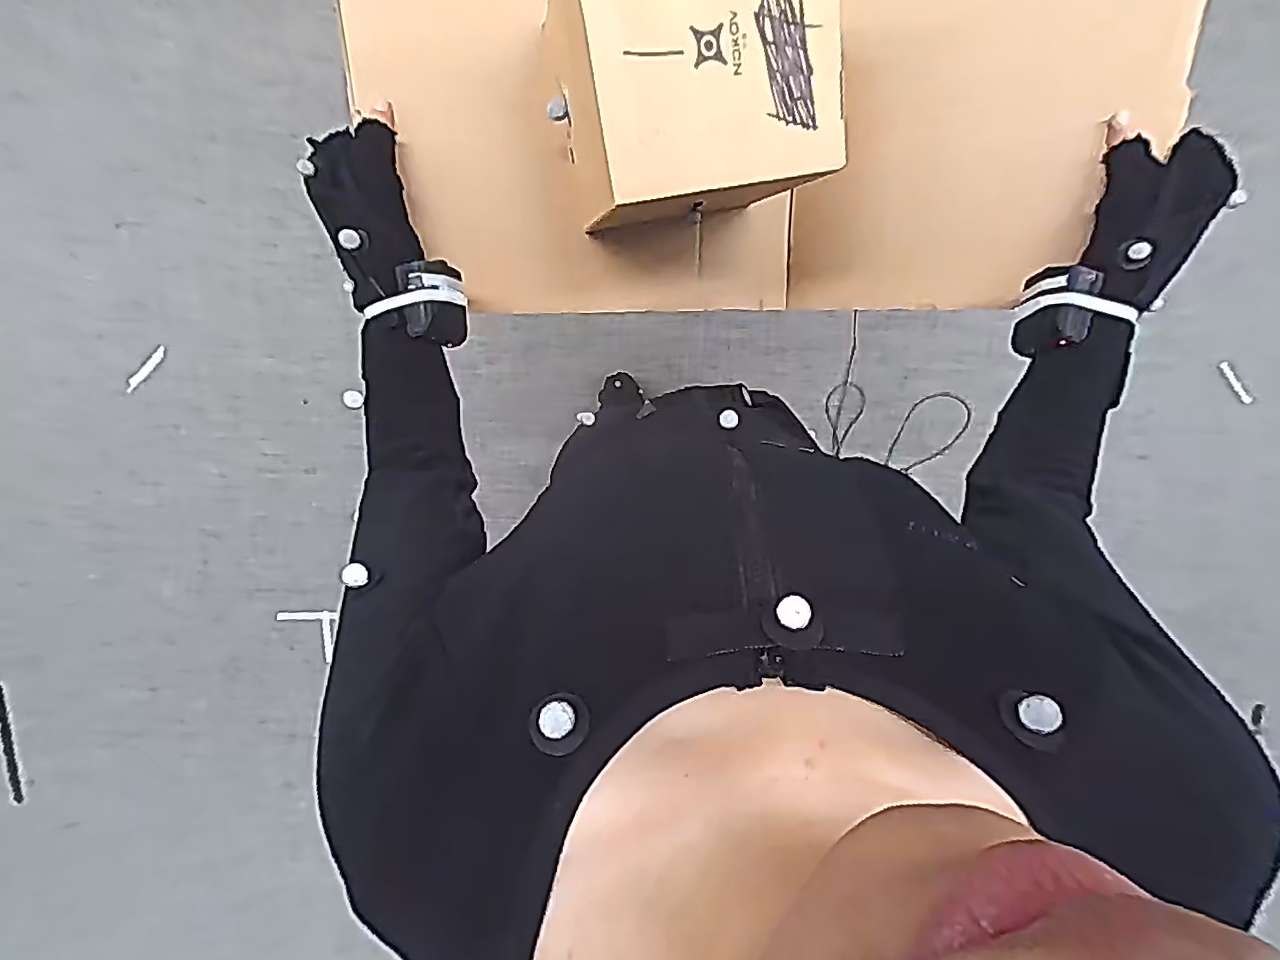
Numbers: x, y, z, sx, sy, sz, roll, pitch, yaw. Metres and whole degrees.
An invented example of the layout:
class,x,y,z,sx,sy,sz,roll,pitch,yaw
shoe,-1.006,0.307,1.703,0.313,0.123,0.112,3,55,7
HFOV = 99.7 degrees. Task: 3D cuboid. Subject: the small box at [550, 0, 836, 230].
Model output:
class,x,y,z,sx,sy,sz,roll,pitch,yaw
small box,0.033,-0.309,0.435,0.179,0.176,0.168,-13,111,-8
